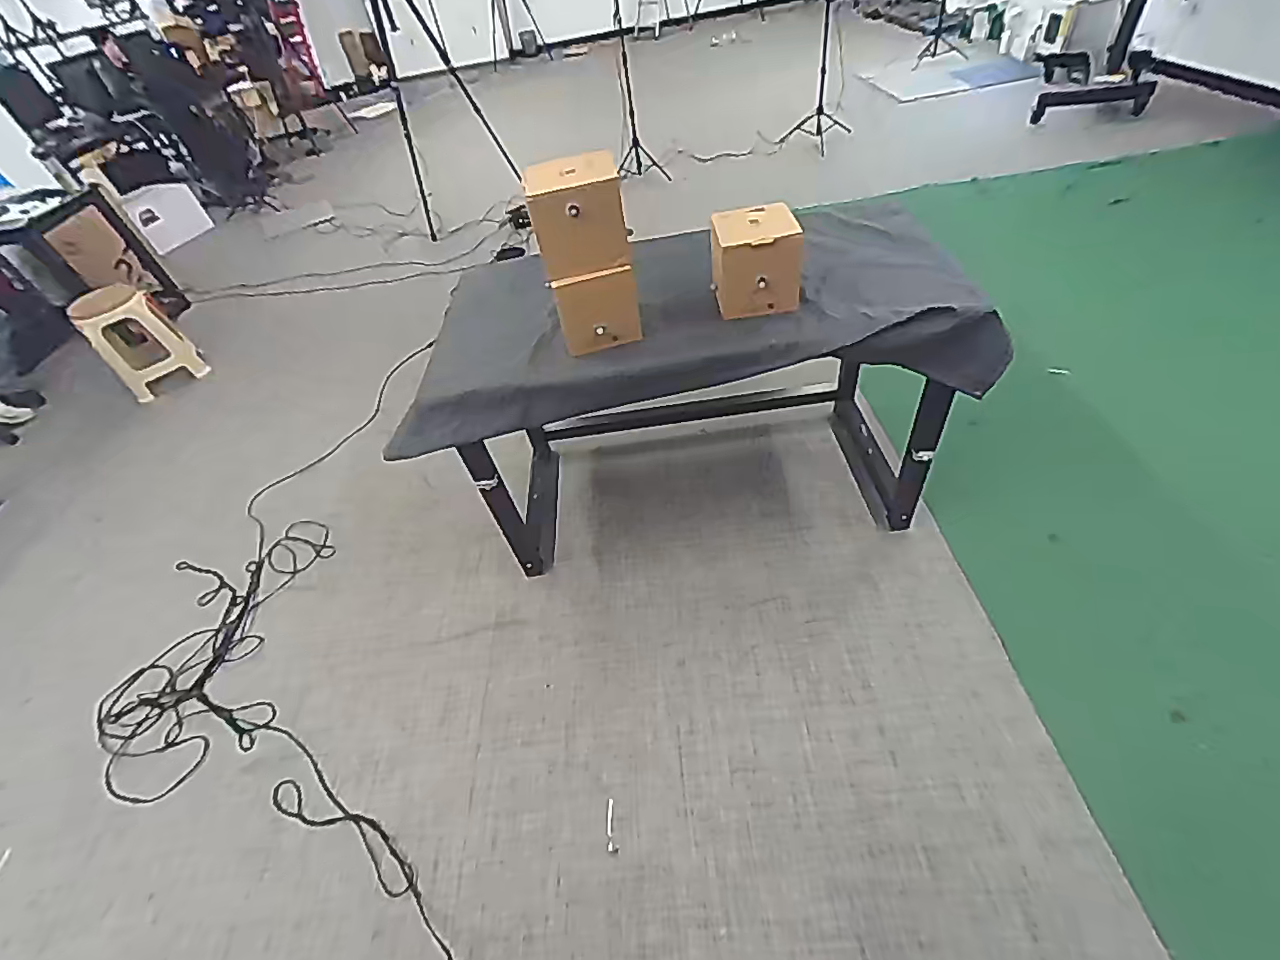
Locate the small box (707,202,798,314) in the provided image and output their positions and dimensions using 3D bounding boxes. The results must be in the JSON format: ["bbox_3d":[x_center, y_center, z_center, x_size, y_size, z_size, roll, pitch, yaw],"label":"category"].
[{"bbox_3d":[0.244,-0.481,1.192,0.168,0.176,0.179,-8,47,4],"label":"small box"}]

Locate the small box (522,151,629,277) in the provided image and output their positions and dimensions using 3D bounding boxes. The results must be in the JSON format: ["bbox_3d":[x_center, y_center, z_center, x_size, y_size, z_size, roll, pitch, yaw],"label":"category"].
[{"bbox_3d":[-0.127,-0.526,1.081,0.179,0.176,0.168,-12,48,-1],"label":"small box"}]

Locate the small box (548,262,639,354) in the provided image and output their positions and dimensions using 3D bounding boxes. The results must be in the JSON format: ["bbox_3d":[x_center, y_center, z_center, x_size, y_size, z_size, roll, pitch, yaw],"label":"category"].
[{"bbox_3d":[-0.107,-0.405,1.188,0.168,0.176,0.179,-15,47,-3],"label":"small box"}]
